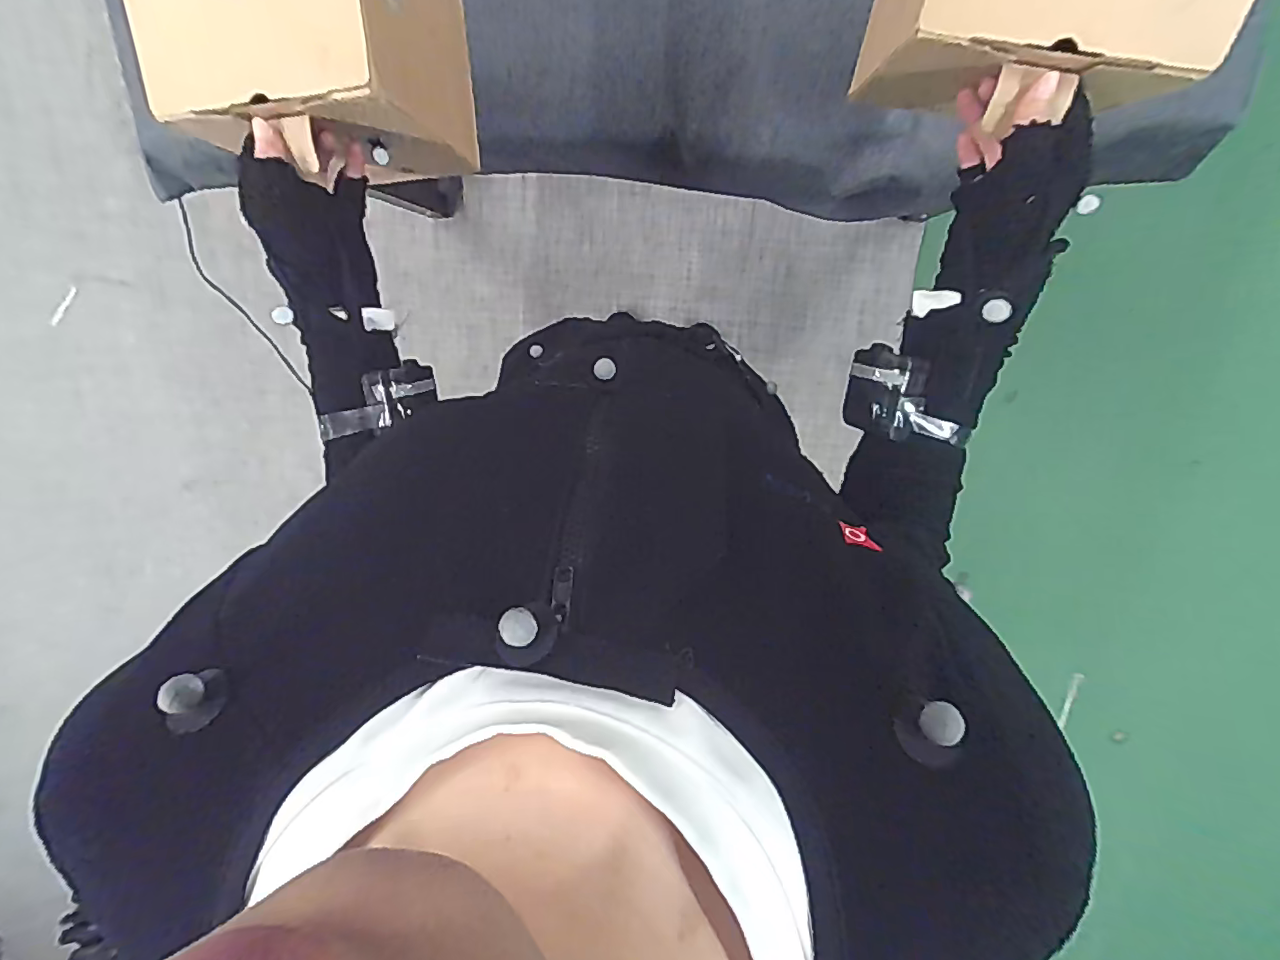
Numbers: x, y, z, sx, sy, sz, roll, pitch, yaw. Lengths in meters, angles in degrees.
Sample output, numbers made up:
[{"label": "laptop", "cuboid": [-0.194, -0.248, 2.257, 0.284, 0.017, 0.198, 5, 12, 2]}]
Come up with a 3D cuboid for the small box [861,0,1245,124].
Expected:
[{"label": "small box", "cuboid": [0.257, -0.345, 0.339, 0.168, 0.176, 0.179, 11, 116, 2]}]

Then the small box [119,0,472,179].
[{"label": "small box", "cuboid": [-0.243, -0.347, 0.409, 0.168, 0.176, 0.179, -2, 102, 8]}]
